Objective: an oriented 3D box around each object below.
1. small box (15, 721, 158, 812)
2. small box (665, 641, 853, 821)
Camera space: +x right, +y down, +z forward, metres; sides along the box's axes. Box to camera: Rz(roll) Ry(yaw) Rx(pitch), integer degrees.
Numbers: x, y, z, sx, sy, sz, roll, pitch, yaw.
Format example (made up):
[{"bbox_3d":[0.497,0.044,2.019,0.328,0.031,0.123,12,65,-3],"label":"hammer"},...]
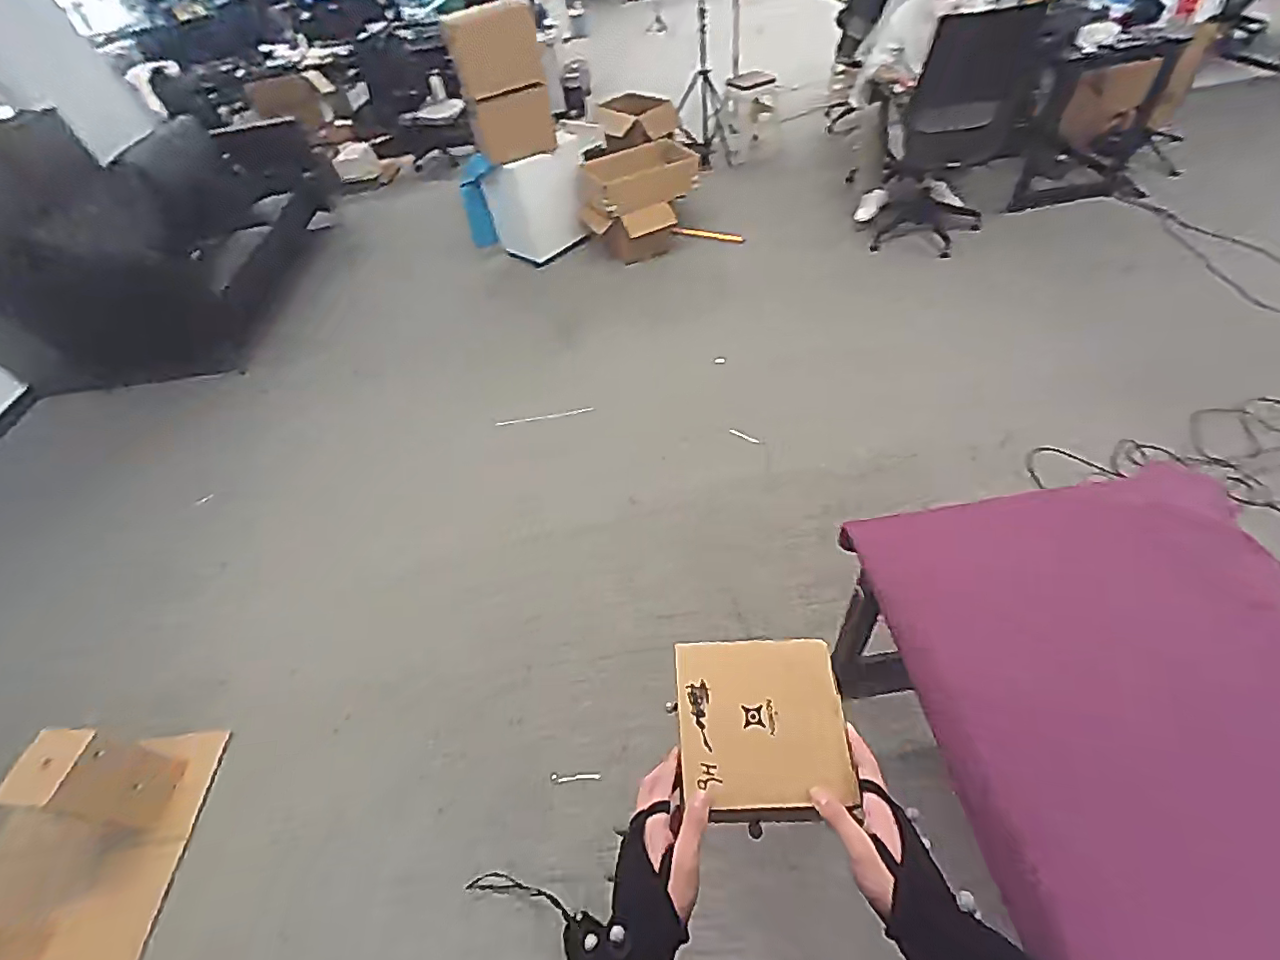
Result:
[{"bbox_3d":[-1.448,0.761,1.435,0.168,0.176,0.179,-1,50,10],"label":"small box"},{"bbox_3d":[0.122,0.298,0.637,0.179,0.176,0.168,-2,54,0],"label":"small box"}]
